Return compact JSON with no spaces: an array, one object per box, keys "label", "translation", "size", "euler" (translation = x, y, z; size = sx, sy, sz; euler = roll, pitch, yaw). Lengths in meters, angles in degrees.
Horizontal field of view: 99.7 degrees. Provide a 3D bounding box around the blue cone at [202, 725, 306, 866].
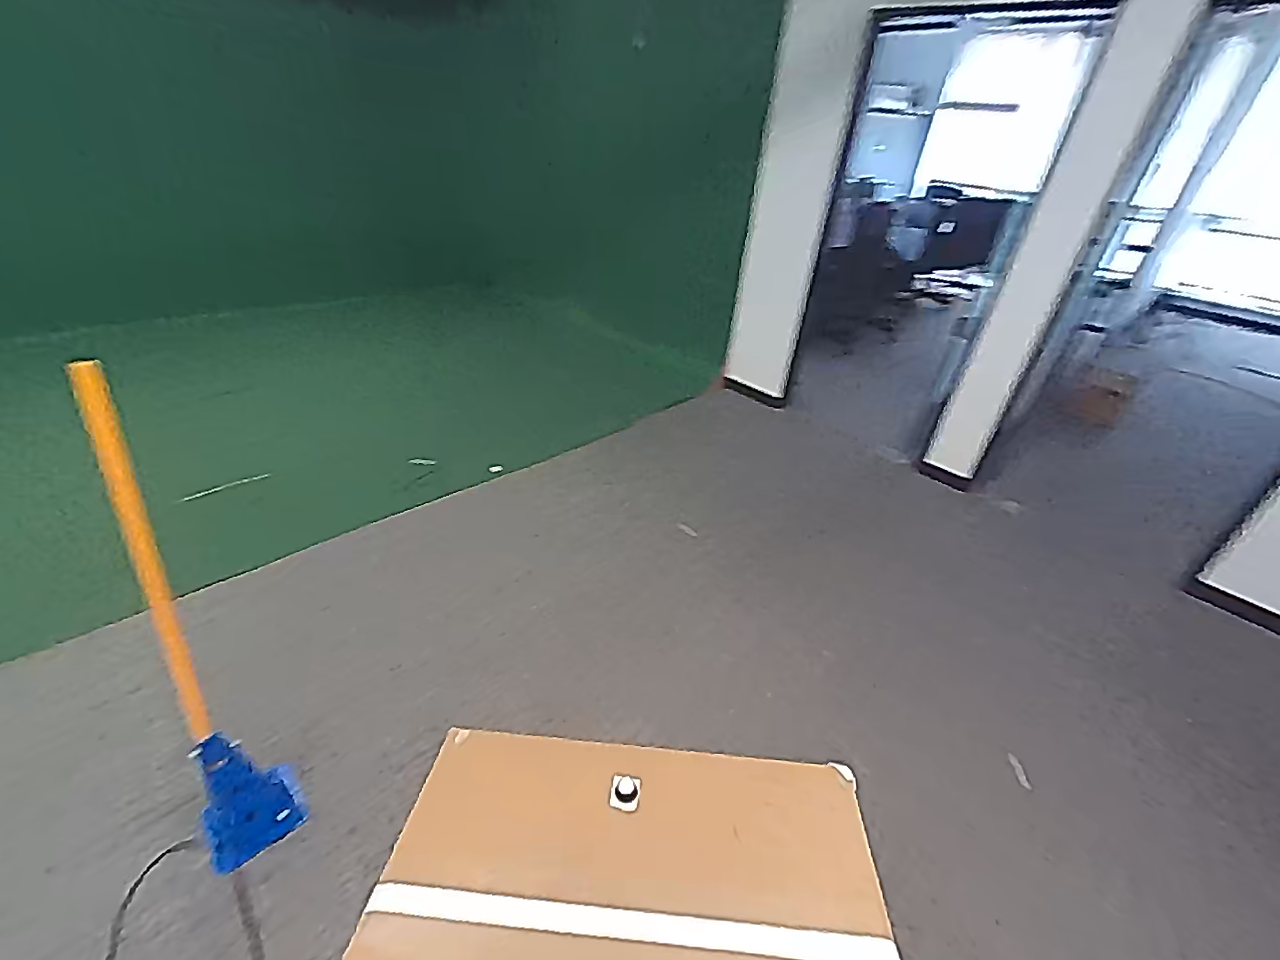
[{"label":"blue cone","translation":[-0.956,0.698,1.276],"size":[0.192,0.380,0.193],"euler":[32,40,33]}]
